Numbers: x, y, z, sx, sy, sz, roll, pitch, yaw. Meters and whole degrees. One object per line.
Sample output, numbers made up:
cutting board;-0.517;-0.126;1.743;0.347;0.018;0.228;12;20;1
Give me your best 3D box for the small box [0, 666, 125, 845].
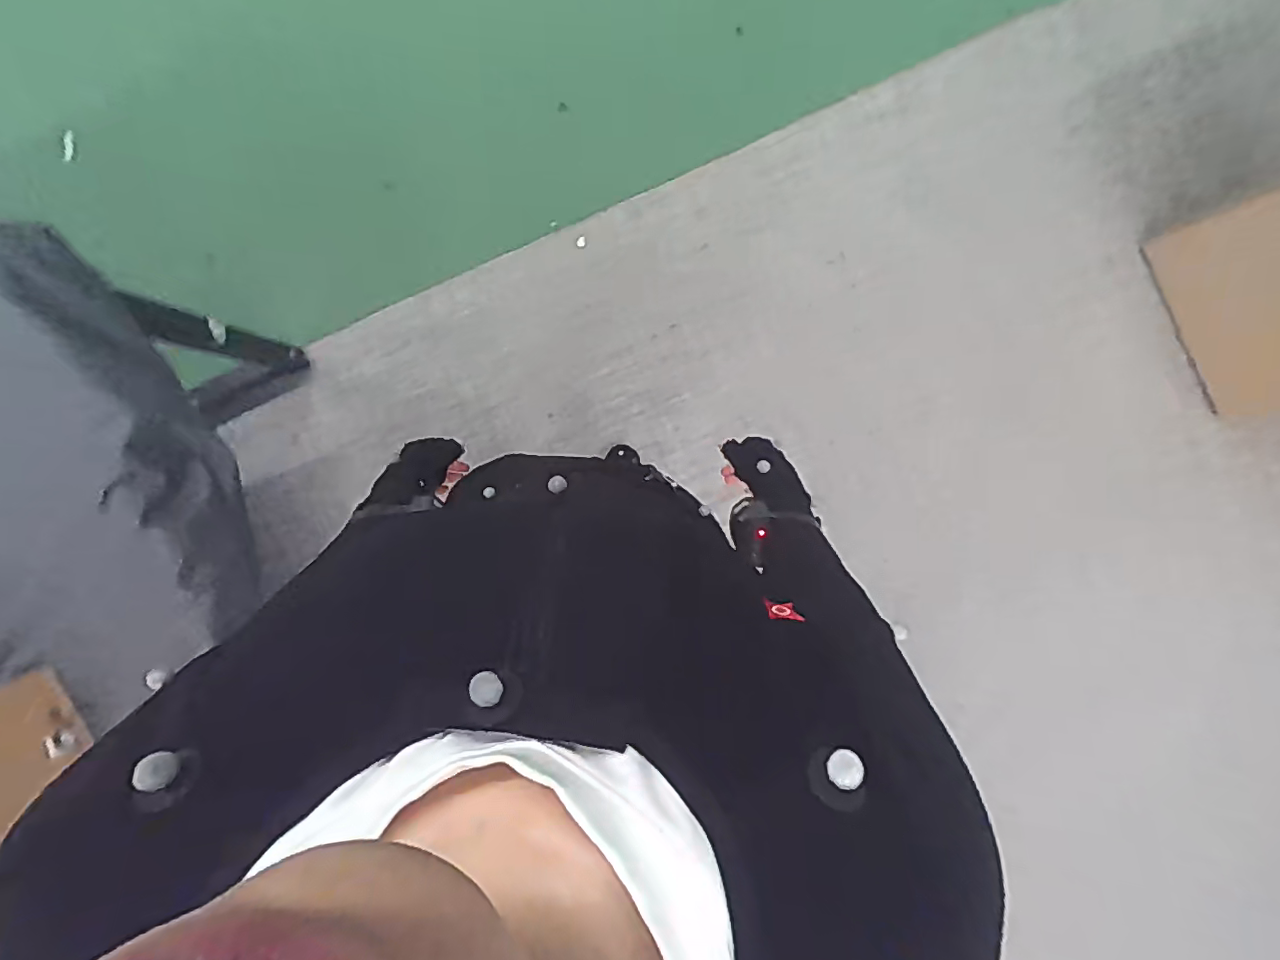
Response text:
small box;-0.804;0.359;0.651;0.179;0.176;0.168;-29;94;-1
